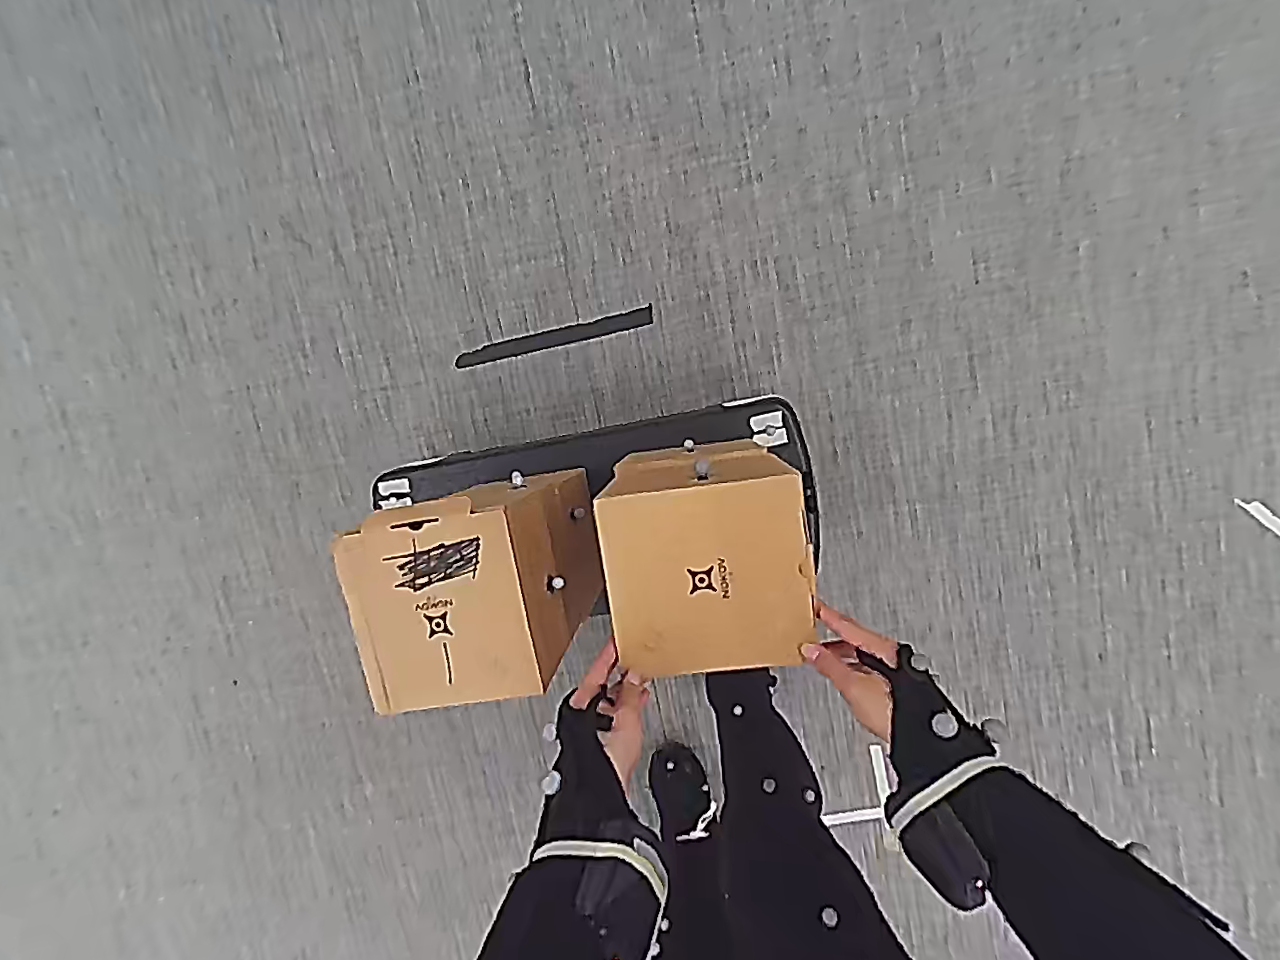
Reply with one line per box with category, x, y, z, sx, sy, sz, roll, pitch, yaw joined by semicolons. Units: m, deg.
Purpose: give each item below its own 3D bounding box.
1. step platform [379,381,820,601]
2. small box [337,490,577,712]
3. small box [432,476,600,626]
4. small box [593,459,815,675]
step platform;-0.062;0.038;0.888;0.684;0.204;0.286;-10;96;7
small box;-0.173;0.110;0.565;0.168;0.176;0.179;-9;97;6
small box;-0.156;0.092;0.727;0.168;0.176;0.179;-8;97;6
small box;0.062;0.074;0.541;0.179;0.176;0.168;-7;97;5
